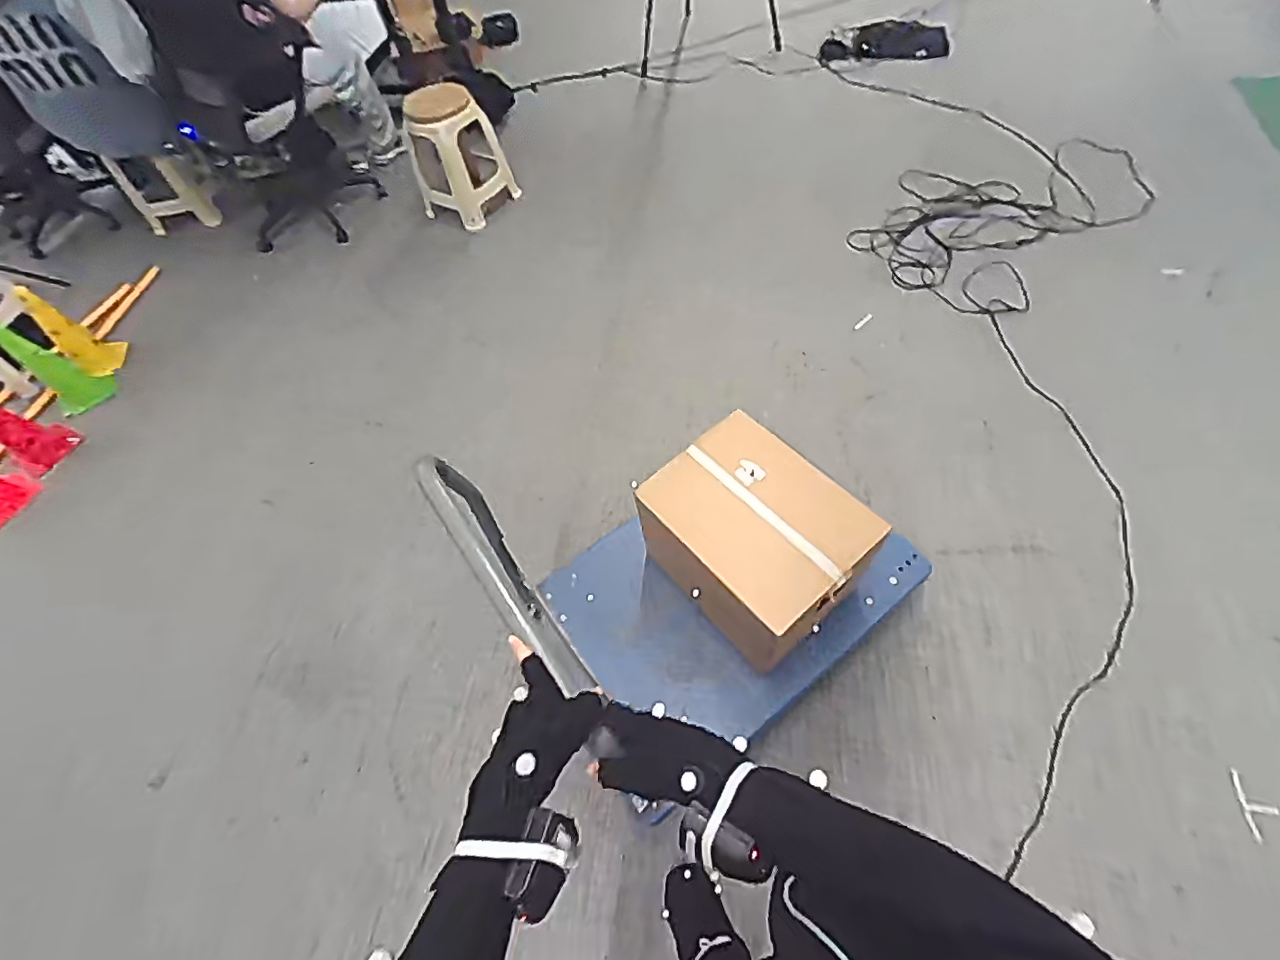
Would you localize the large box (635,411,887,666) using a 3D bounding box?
[{"bbox_3d":[0.250,0.130,1.200,0.320,0.320,0.408,-37,60,-16],"label":"large box"}]
